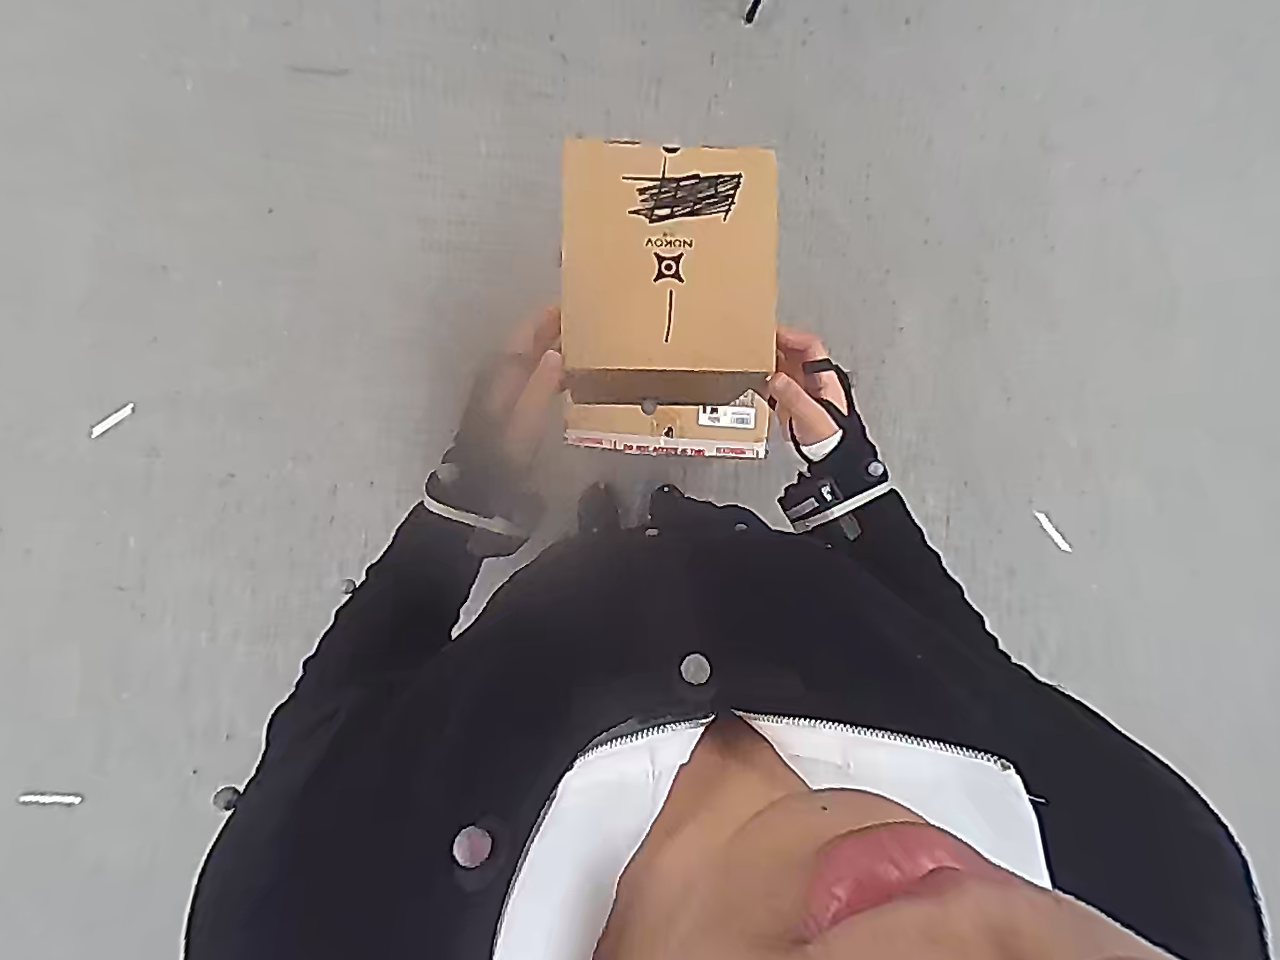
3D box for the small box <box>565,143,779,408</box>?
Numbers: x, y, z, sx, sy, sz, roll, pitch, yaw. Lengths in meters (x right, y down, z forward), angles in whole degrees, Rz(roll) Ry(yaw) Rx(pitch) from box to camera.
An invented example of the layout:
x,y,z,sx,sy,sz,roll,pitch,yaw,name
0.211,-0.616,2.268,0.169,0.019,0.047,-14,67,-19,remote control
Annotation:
x,y,z,sx,sy,sz,roll,pitch,yaw,name
0.020,-0.167,0.491,0.168,0.176,0.179,0,89,-3,small box
